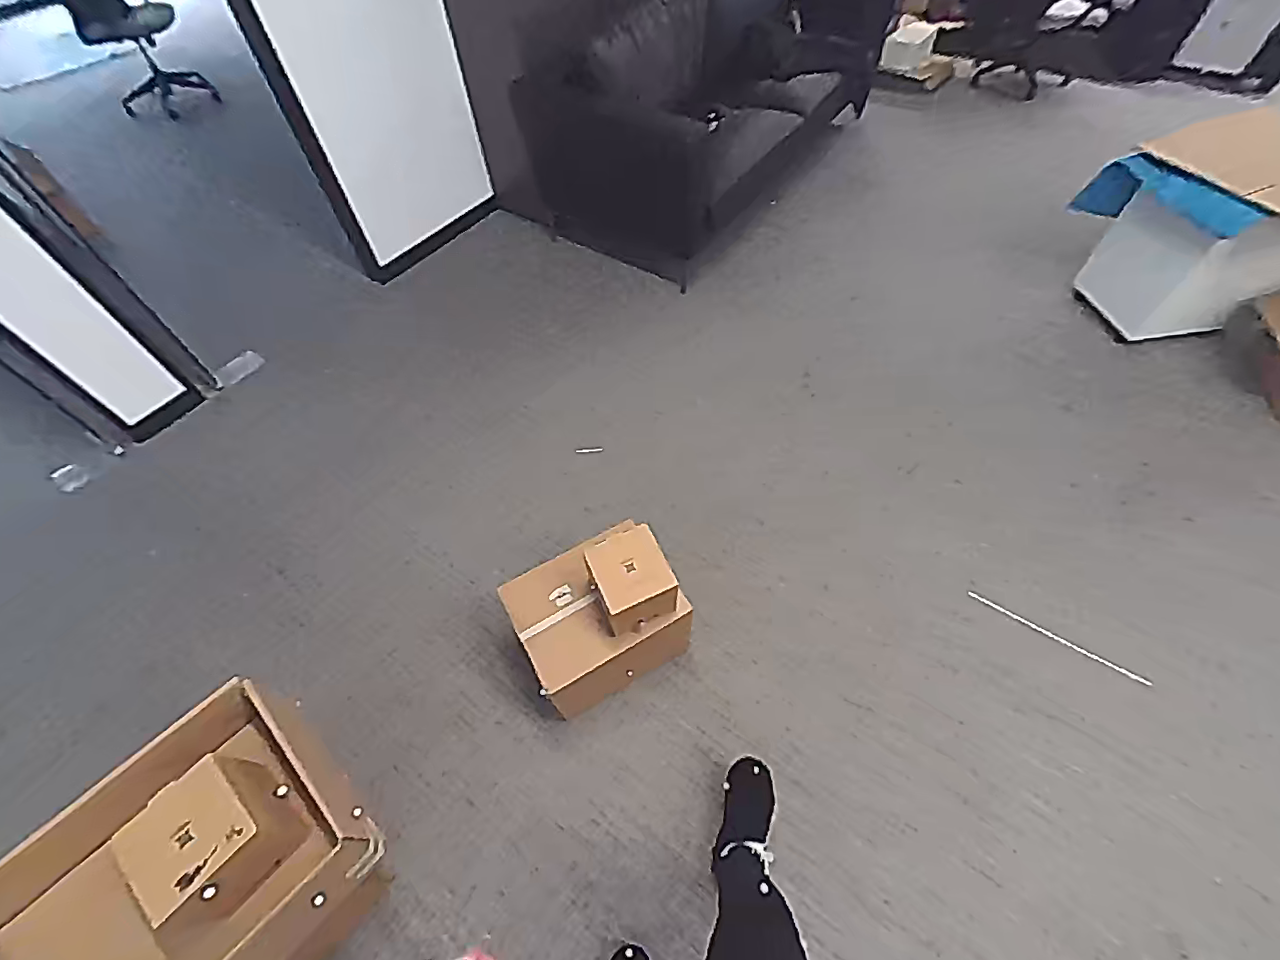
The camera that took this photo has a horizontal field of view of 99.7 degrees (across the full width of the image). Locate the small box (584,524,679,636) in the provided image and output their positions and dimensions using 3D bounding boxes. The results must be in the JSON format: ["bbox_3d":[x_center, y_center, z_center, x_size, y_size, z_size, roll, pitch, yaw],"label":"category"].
[{"bbox_3d":[-0.021,0.240,1.279,0.168,0.176,0.179,-22,59,-12],"label":"small box"}]

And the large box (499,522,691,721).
[{"bbox_3d":[-0.110,0.389,1.478,0.408,0.320,0.320,-28,58,-15],"label":"large box"}]
